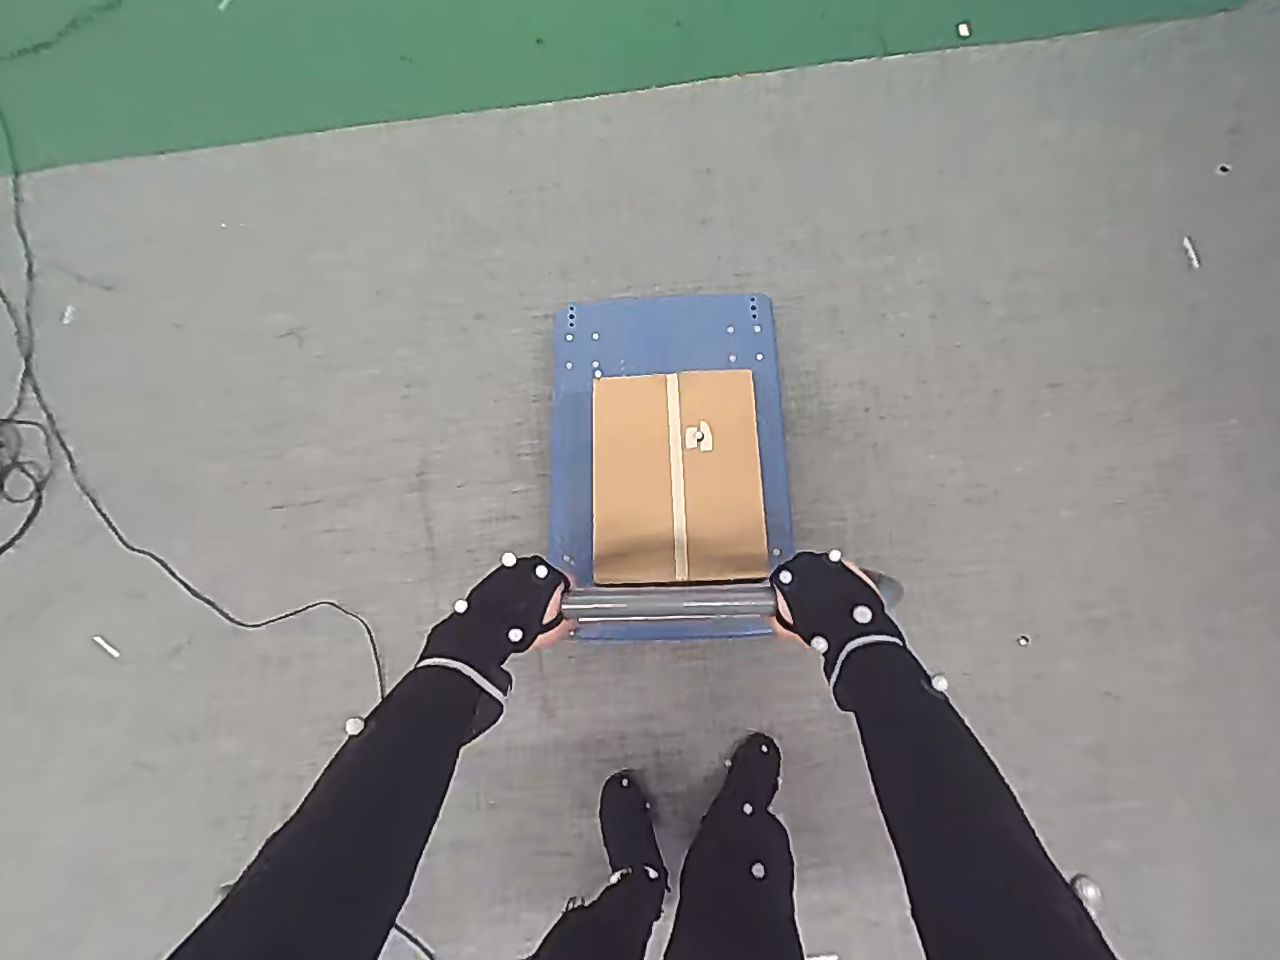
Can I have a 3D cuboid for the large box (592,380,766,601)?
[{"bbox_3d":[0.075,0.041,1.164,0.320,0.320,0.408,-2,74,3],"label":"large box"}]
